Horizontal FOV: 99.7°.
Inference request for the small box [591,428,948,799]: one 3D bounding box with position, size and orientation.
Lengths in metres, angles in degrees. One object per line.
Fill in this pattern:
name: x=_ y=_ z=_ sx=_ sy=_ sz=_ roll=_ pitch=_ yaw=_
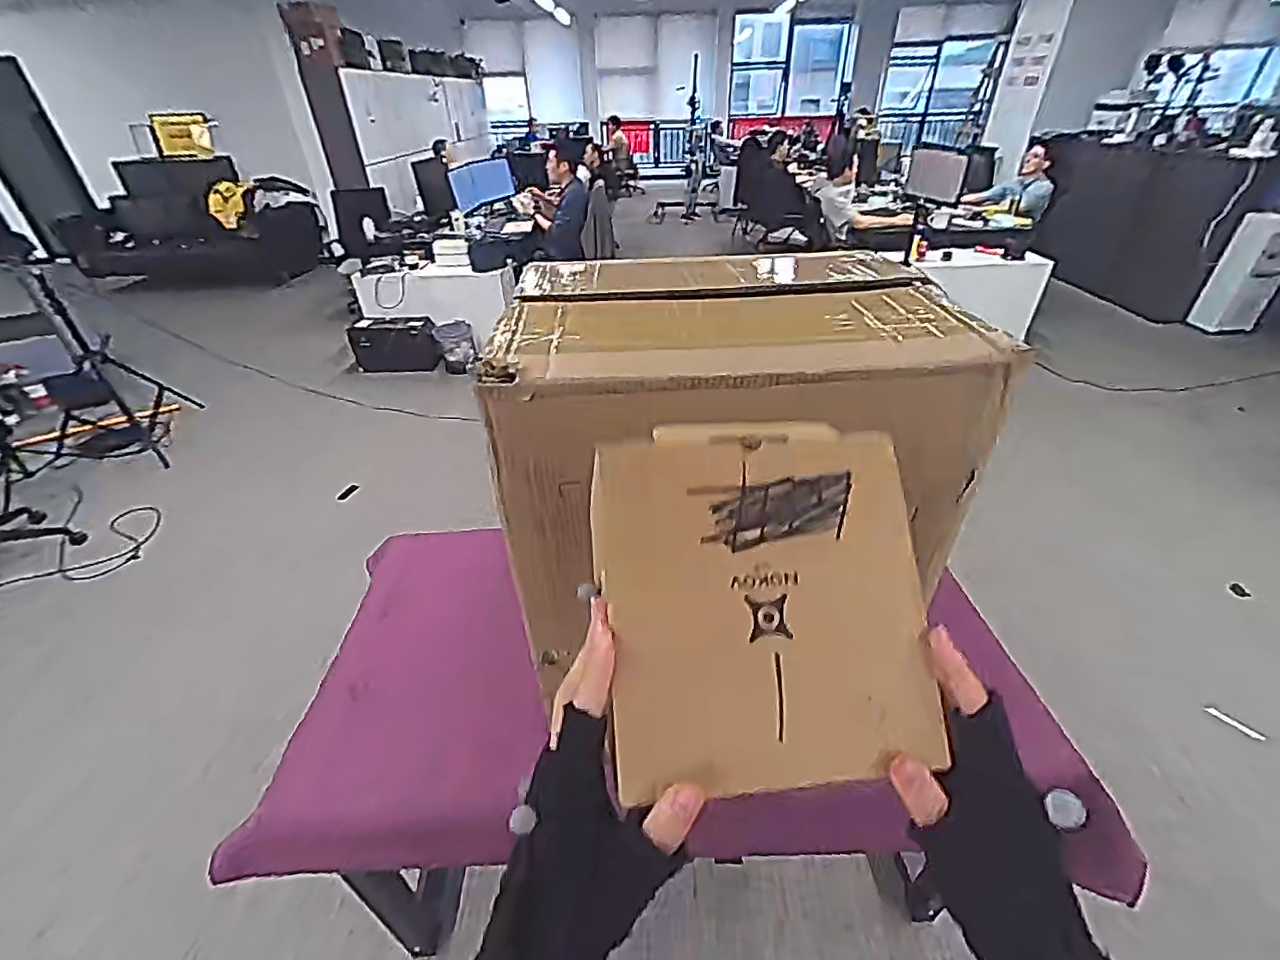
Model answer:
small box: x=0.055 y=0.077 z=0.351 sx=0.168 sy=0.176 sz=0.179 roll=-3 pitch=77 yaw=-6
